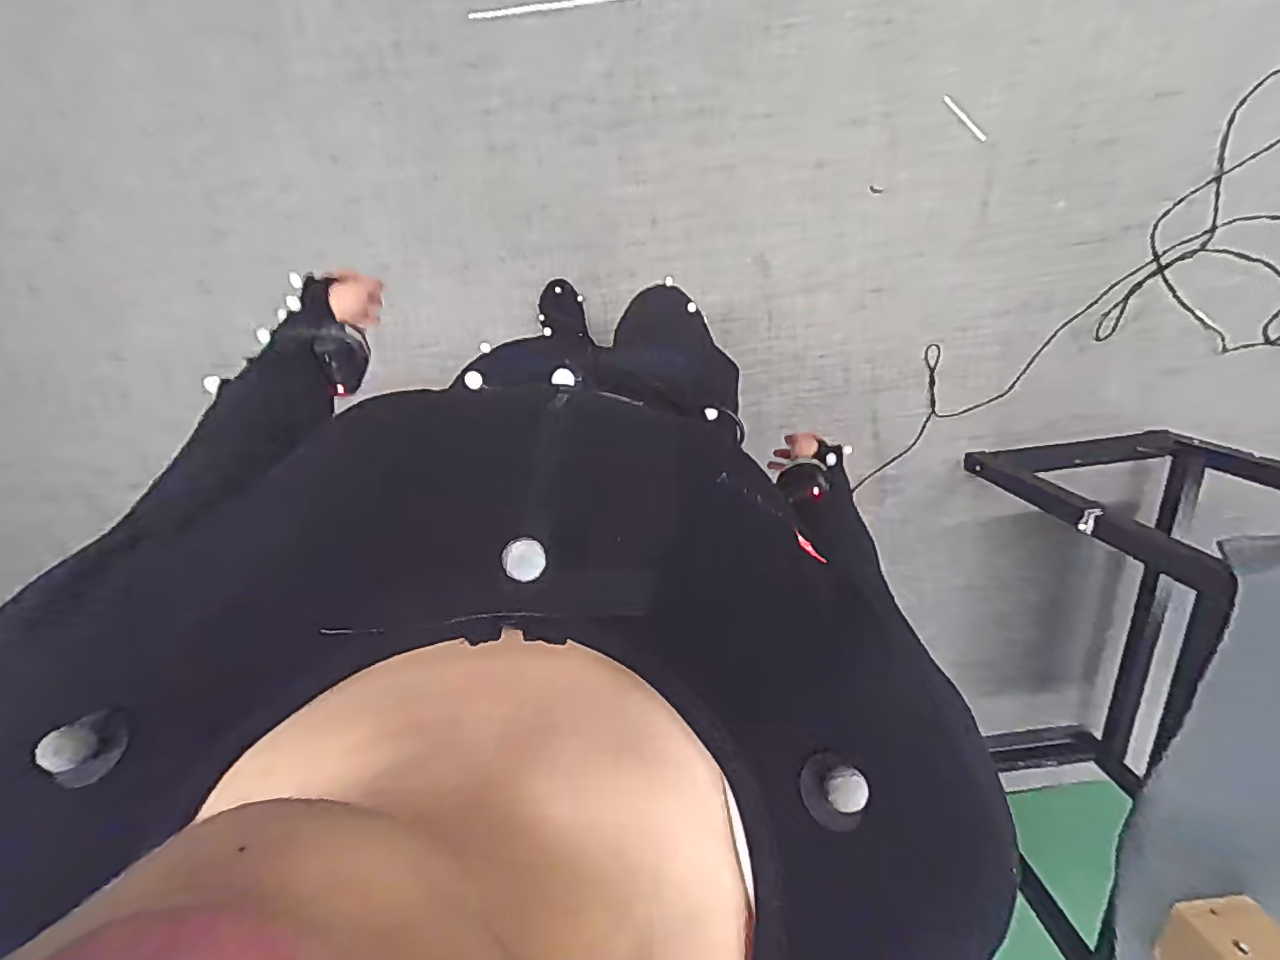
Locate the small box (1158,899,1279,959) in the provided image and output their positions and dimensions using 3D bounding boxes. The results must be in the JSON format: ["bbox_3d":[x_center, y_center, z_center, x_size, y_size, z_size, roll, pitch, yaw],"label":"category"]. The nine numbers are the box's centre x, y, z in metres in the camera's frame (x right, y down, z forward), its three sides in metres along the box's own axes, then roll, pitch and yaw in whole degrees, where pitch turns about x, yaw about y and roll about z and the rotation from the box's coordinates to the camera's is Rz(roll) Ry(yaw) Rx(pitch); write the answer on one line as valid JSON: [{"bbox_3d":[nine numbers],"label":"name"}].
[{"bbox_3d":[1.193,0.968,1.070,0.168,0.176,0.179,-3,111,-2],"label":"small box"}]
